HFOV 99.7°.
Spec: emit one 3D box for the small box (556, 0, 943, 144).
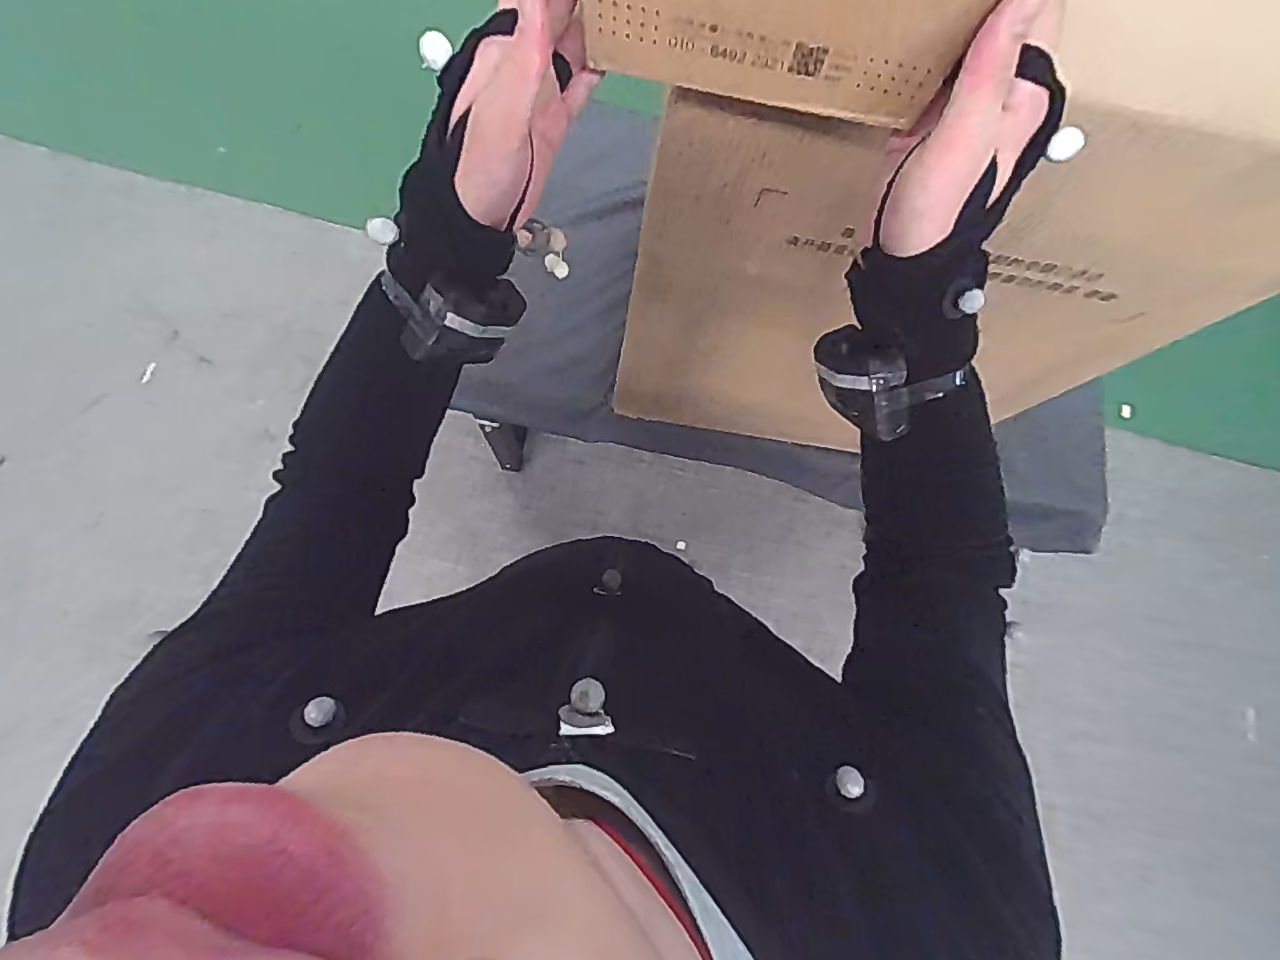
[{"bbox_3d":[0.057,-0.279,0.217,0.168,0.176,0.179,11,78,-1],"label":"small box"}]
